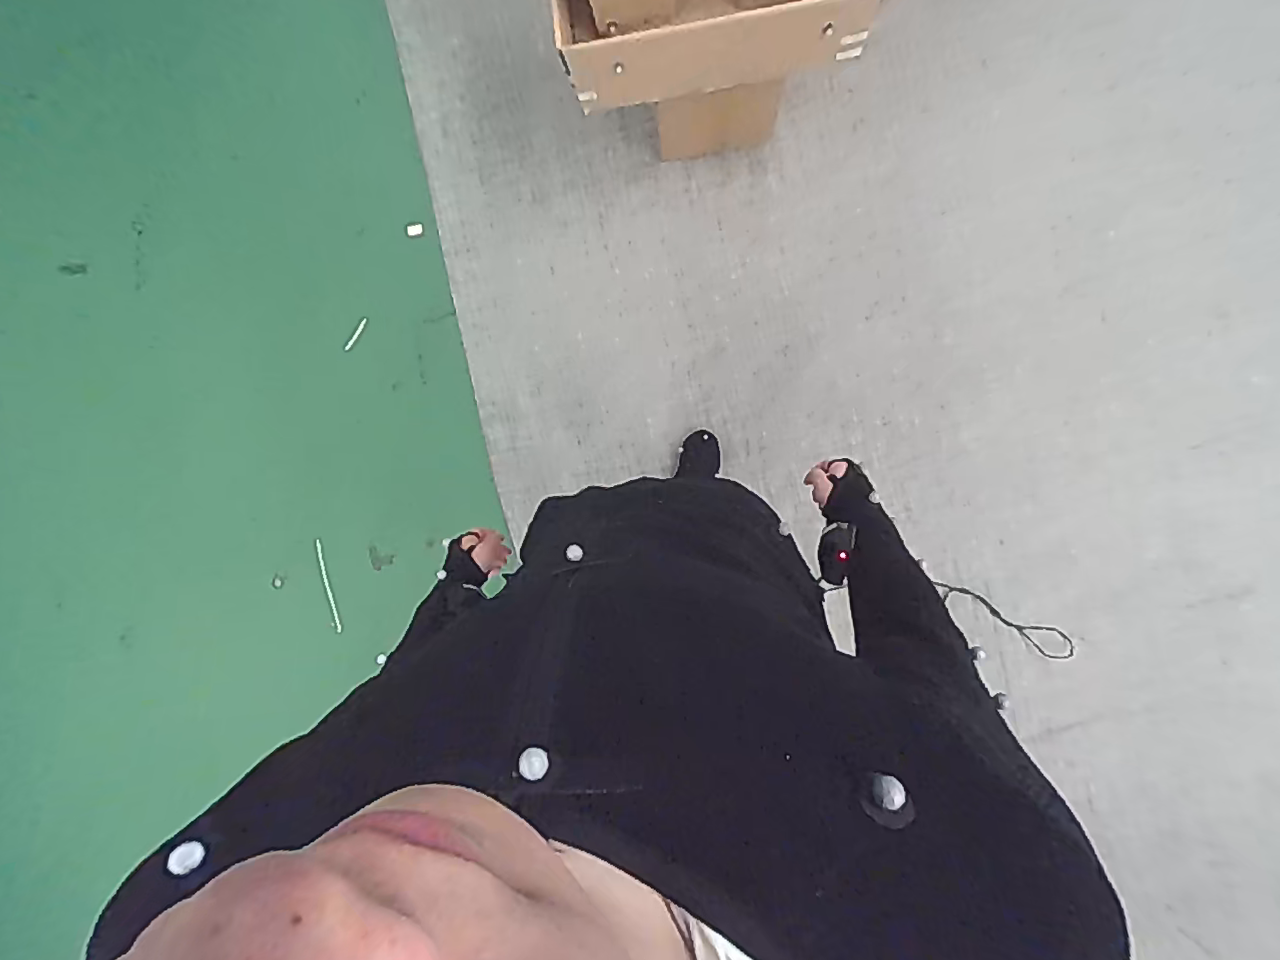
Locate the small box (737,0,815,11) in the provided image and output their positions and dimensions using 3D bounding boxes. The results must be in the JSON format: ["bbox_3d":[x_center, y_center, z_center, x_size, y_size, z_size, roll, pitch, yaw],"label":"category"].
[{"bbox_3d":[0.267,-1.040,1.012,0.168,0.176,0.179,-1,94,7],"label":"small box"}]
